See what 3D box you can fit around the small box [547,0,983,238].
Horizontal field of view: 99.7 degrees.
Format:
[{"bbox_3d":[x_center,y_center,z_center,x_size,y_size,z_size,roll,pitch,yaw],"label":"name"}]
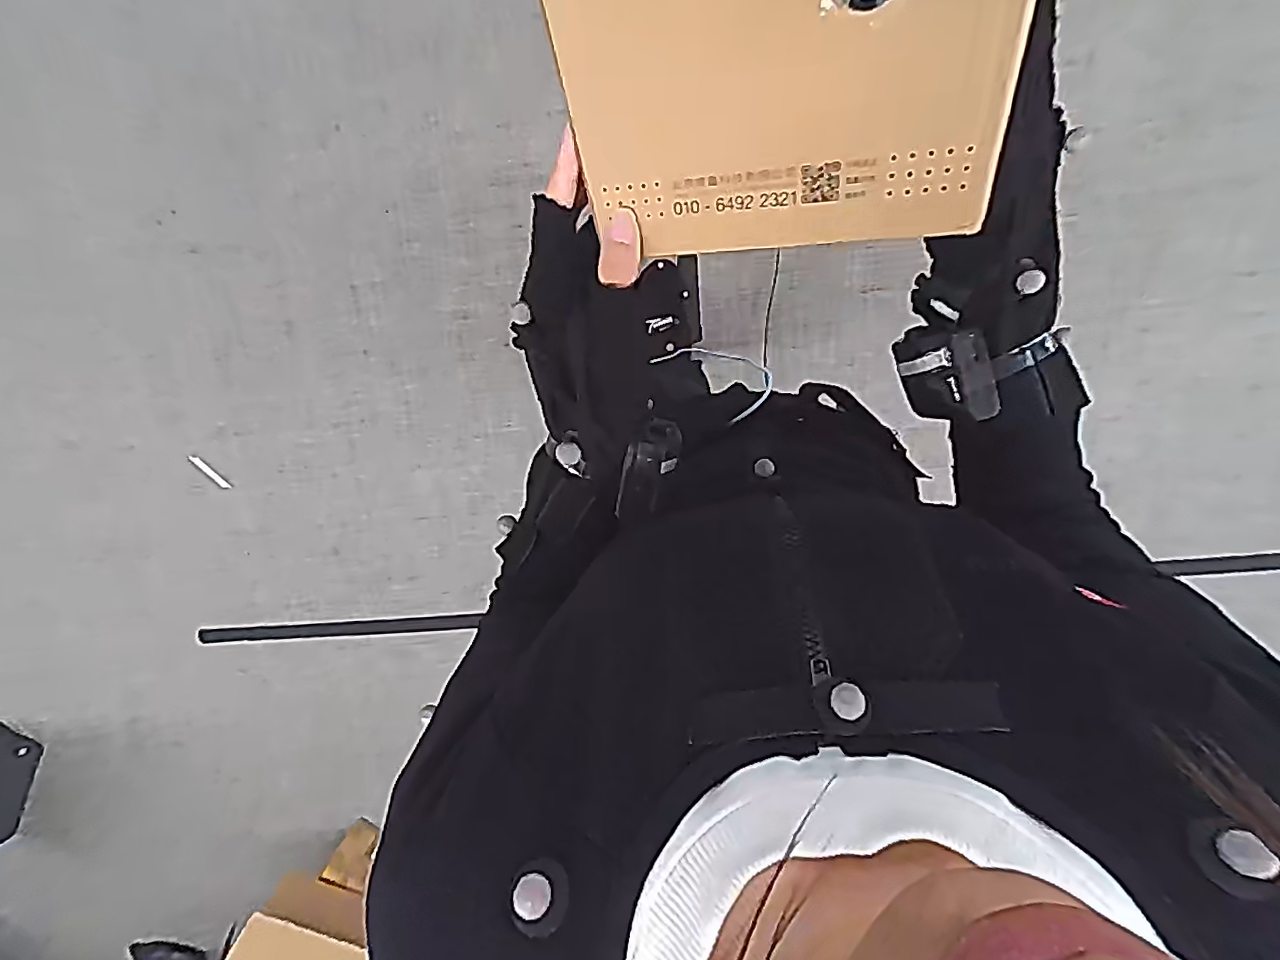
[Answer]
[{"bbox_3d":[0.068,-0.229,0.258,0.168,0.179,0.176,7,138,22],"label":"small box"}]
